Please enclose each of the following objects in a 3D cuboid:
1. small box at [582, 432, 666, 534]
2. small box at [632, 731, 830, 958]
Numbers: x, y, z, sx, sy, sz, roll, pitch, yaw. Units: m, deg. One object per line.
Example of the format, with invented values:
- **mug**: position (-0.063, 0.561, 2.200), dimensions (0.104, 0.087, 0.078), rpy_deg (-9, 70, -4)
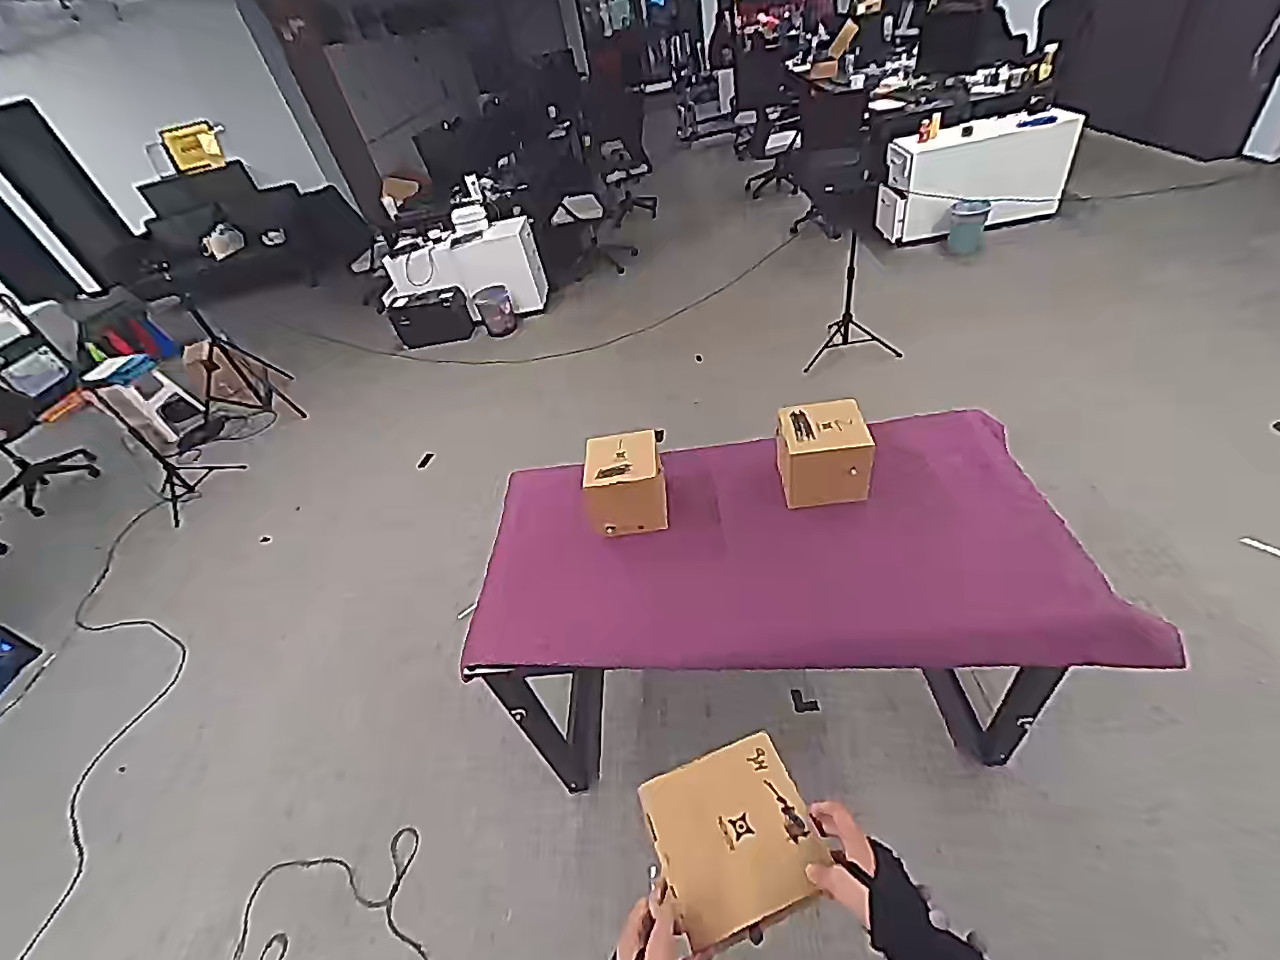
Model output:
- **small box**: position (-0.033, 0.014, 1.283), dimensions (0.168, 0.176, 0.179), rpy_deg (-8, 41, 7)
- **small box**: position (0.105, 0.451, 0.668), dimensions (0.179, 0.176, 0.168), rpy_deg (-18, 46, -11)
